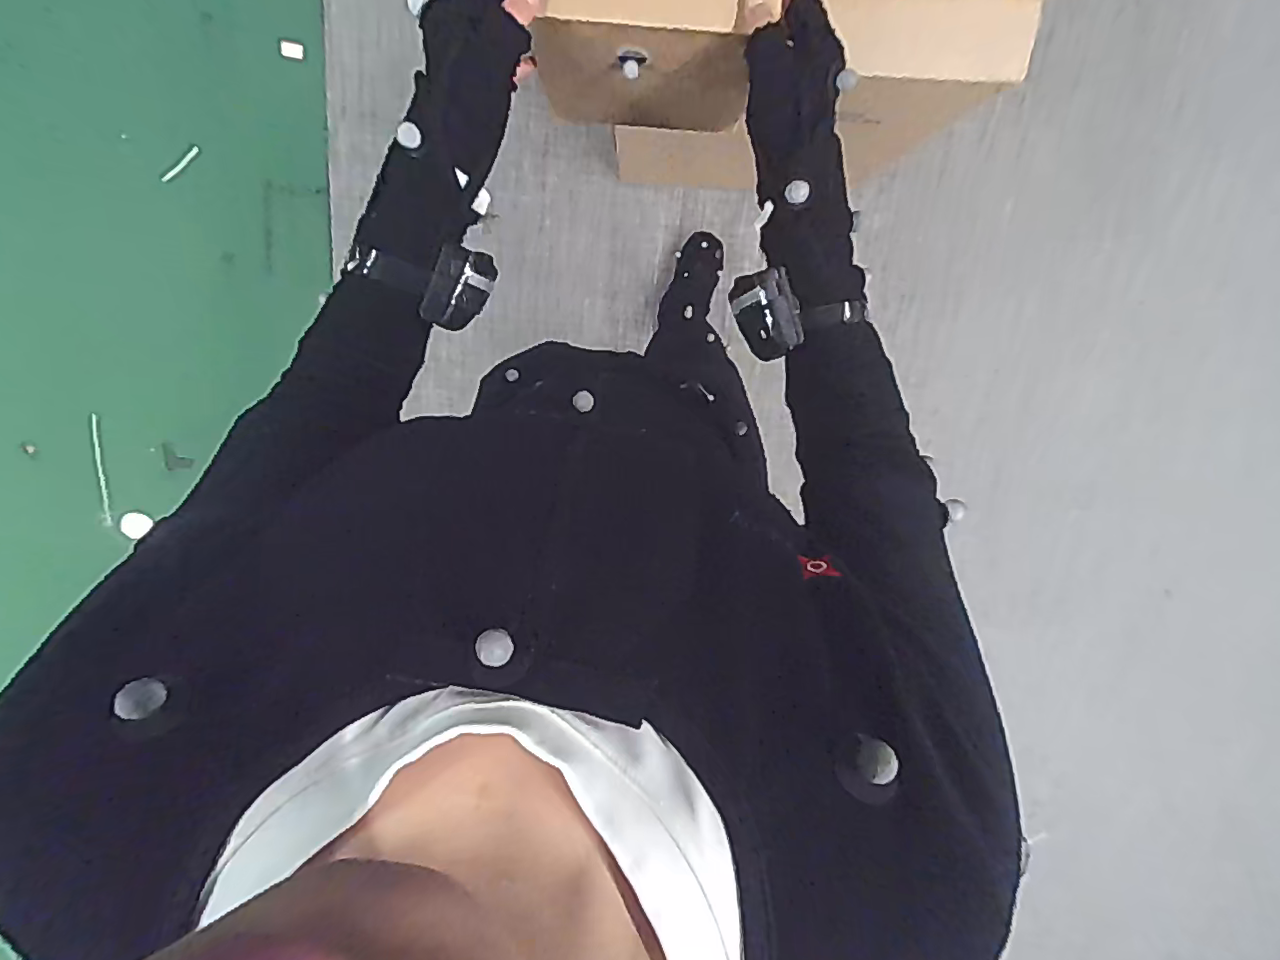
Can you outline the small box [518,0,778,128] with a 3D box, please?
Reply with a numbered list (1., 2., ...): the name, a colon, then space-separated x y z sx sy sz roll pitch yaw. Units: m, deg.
1. small box: 0.010 -0.402 0.423 0.179 0.176 0.168 3 103 -1
